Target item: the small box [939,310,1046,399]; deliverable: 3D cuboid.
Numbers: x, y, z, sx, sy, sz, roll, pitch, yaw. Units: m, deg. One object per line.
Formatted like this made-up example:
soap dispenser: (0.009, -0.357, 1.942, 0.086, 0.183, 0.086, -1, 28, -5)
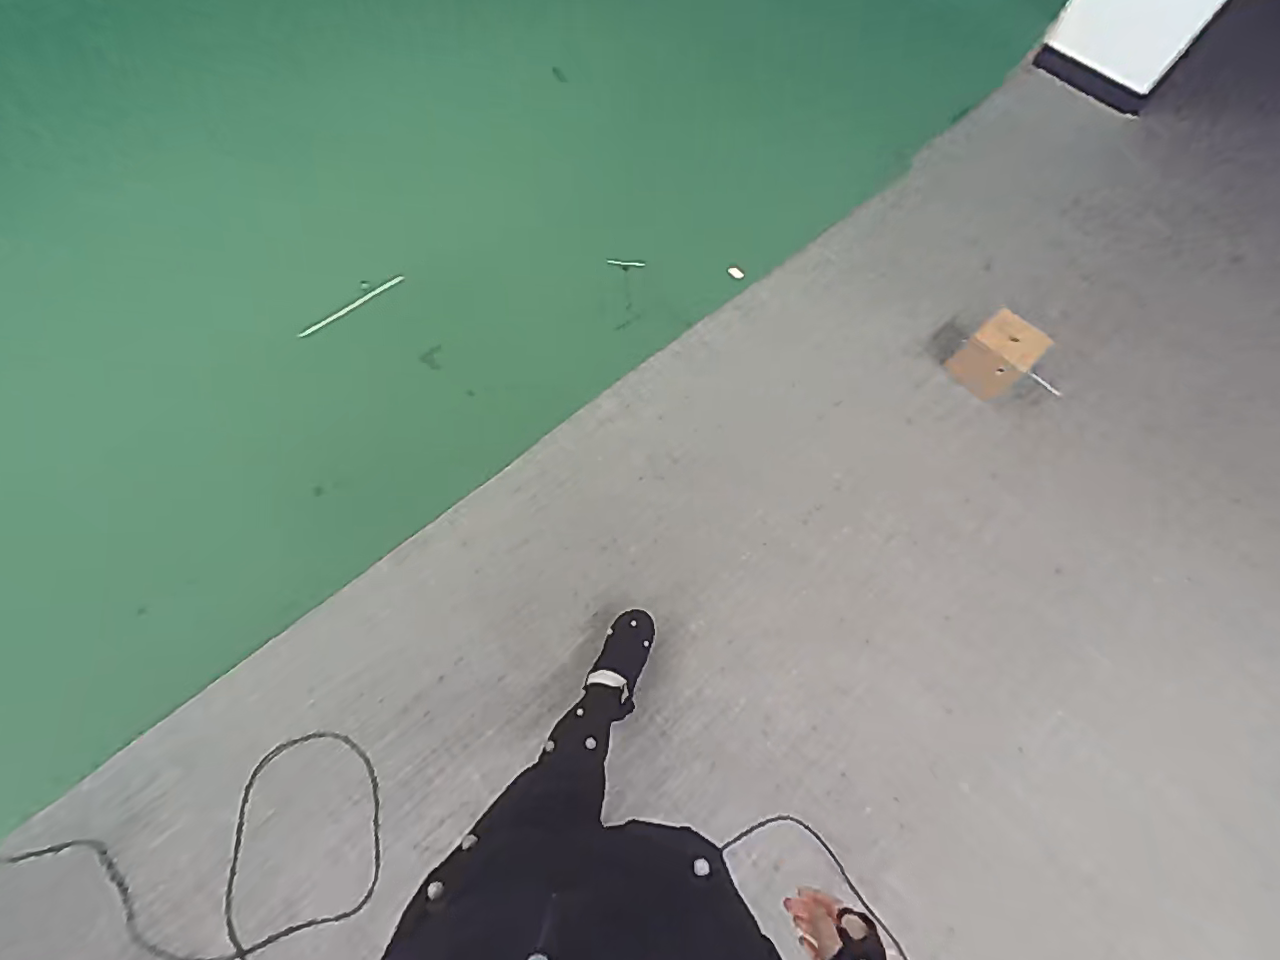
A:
small box: (1.068, -0.372, 1.650, 0.168, 0.176, 0.179, -40, 73, -17)
